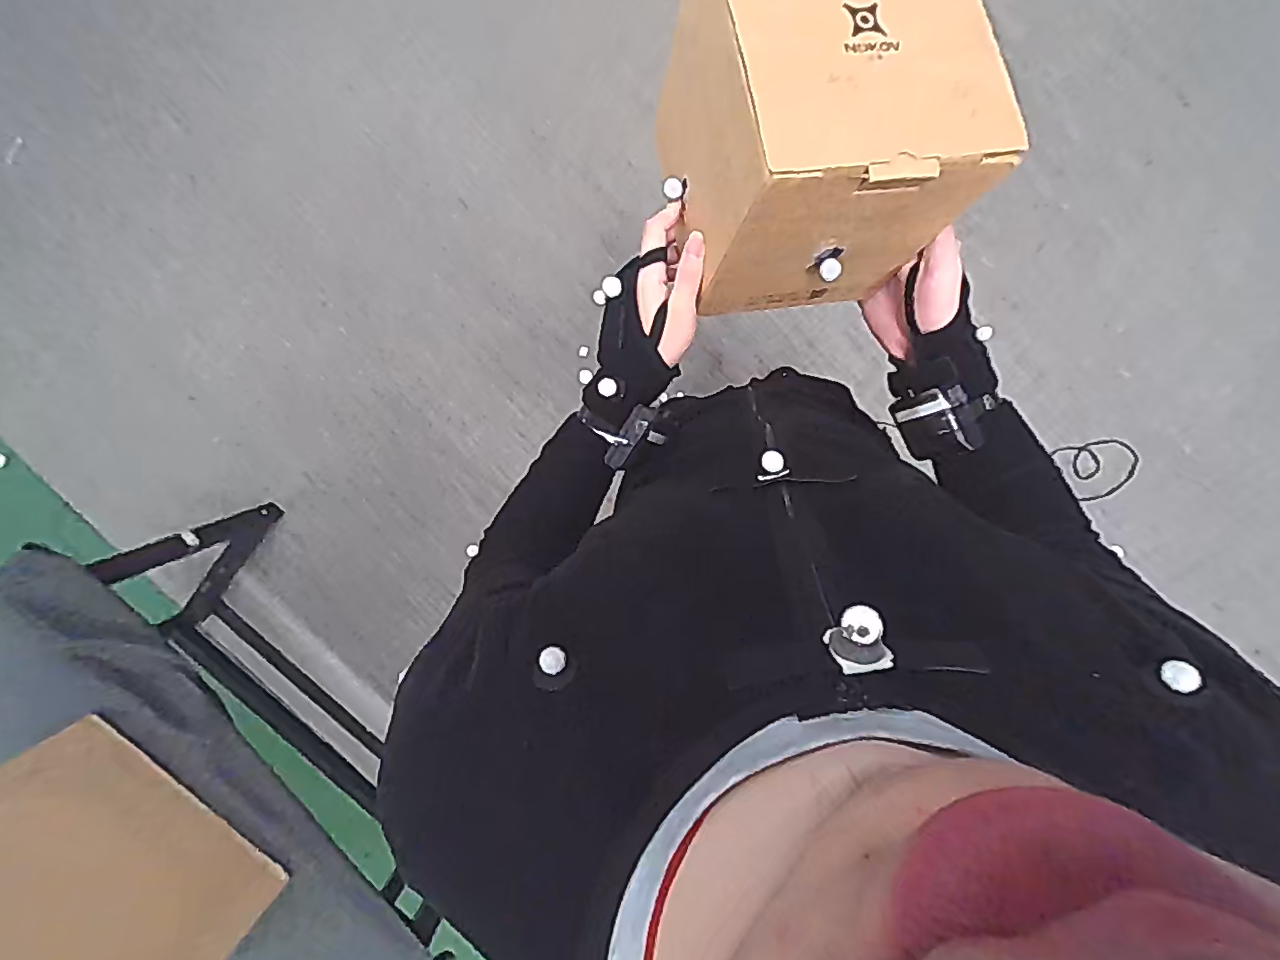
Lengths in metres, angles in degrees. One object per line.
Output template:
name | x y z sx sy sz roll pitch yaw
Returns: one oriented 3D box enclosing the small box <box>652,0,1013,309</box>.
small box | 0.113 -0.237 0.390 0.168 0.176 0.179 -9 83 -11
